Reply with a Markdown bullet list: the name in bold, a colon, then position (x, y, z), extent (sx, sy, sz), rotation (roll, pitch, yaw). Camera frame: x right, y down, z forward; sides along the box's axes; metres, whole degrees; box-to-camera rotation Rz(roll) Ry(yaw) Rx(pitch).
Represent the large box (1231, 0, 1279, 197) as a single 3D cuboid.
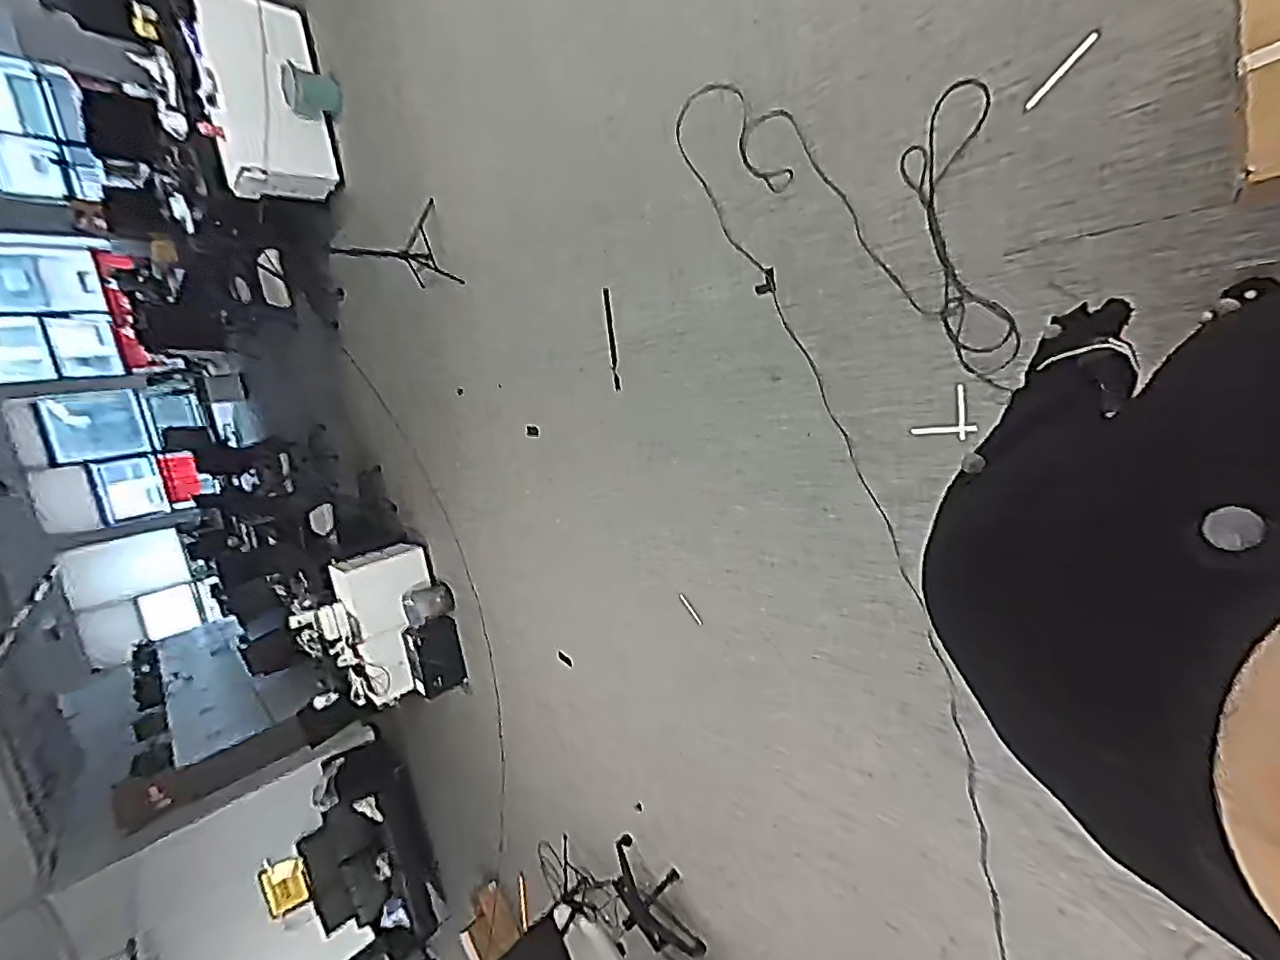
- **large box**: position (1.067, -0.615, 0.697), extent (0.408, 0.320, 0.320), rotation (-2, 102, 47)
